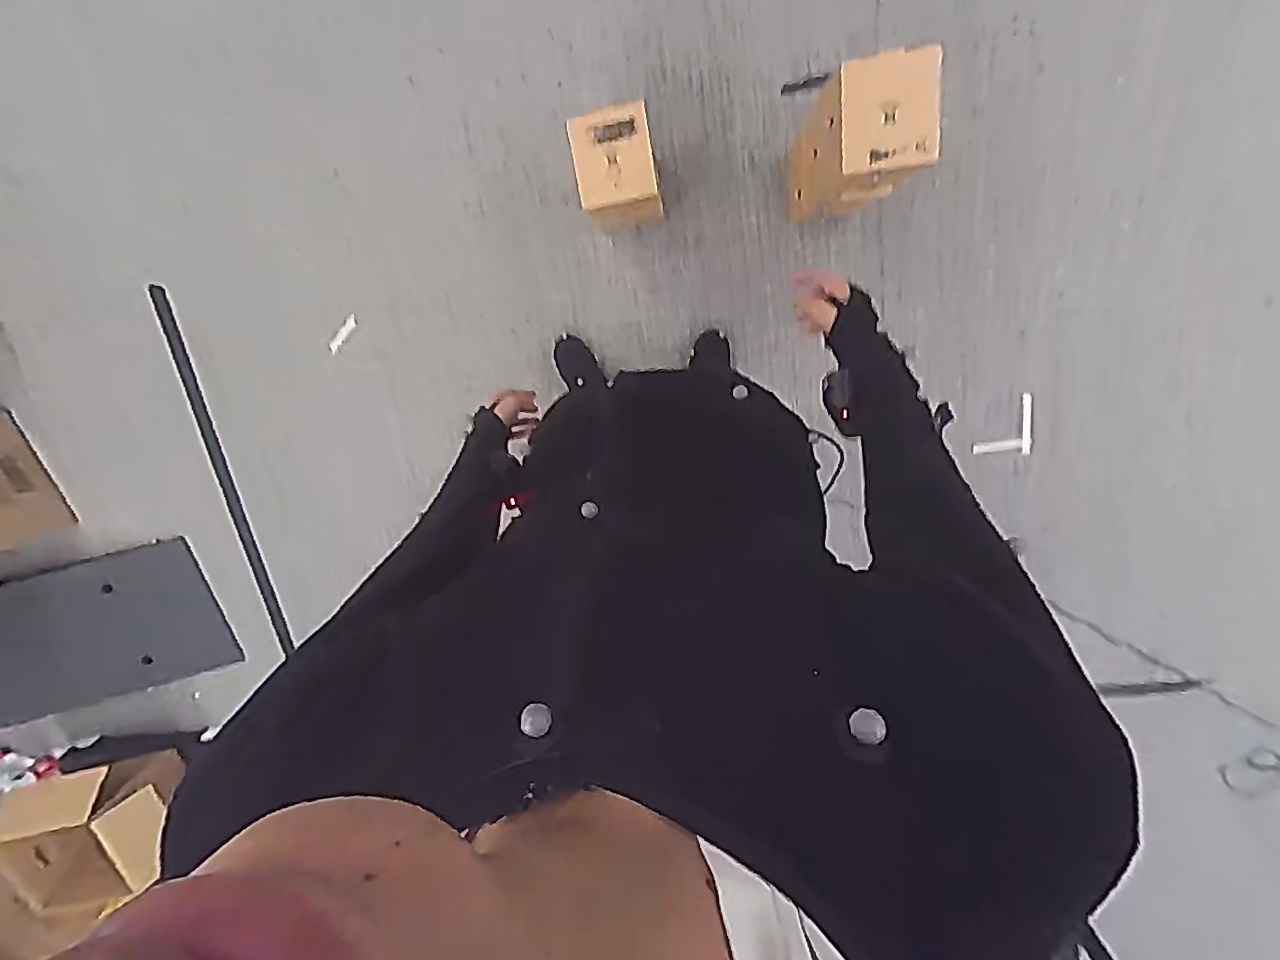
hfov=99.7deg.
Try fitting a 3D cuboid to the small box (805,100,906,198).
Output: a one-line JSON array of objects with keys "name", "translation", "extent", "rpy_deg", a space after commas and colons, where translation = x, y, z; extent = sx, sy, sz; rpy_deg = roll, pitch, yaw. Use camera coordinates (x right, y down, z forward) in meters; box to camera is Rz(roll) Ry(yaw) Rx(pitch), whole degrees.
[{"name": "small box", "translation": [0.452, -0.711, 1.145], "extent": [0.168, 0.176, 0.179], "rpy_deg": [-5, 106, 5]}]

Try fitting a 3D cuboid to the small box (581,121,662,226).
[{"name": "small box", "translation": [-0.039, -0.748, 1.338], "extent": [0.168, 0.176, 0.179], "rpy_deg": [-9, 106, 7]}]

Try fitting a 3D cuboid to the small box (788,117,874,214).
[{"name": "small box", "translation": [0.455, -0.758, 1.302], "extent": [0.168, 0.176, 0.179], "rpy_deg": [-5, 107, 5]}]

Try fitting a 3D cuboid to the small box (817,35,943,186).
[{"name": "small box", "translation": [0.427, -0.662, 0.989], "extent": [0.168, 0.176, 0.179], "rpy_deg": [-5, 106, 5]}]
